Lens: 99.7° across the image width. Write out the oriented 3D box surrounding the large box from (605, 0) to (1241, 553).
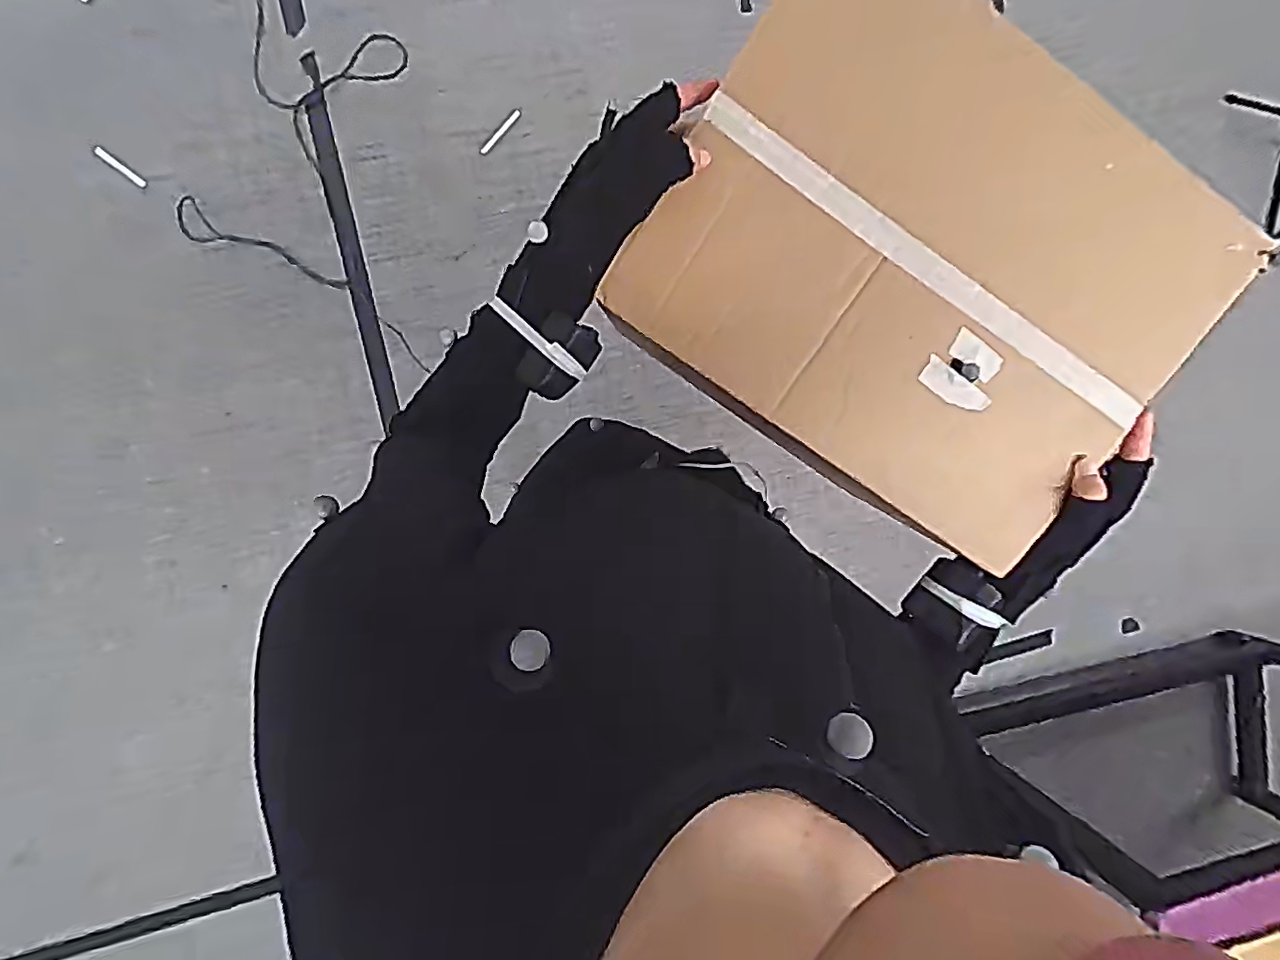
[{"bbox_3d":[0.214,-0.193,0.563,0.408,0.320,0.320,34,100,-7],"label":"large box"}]
